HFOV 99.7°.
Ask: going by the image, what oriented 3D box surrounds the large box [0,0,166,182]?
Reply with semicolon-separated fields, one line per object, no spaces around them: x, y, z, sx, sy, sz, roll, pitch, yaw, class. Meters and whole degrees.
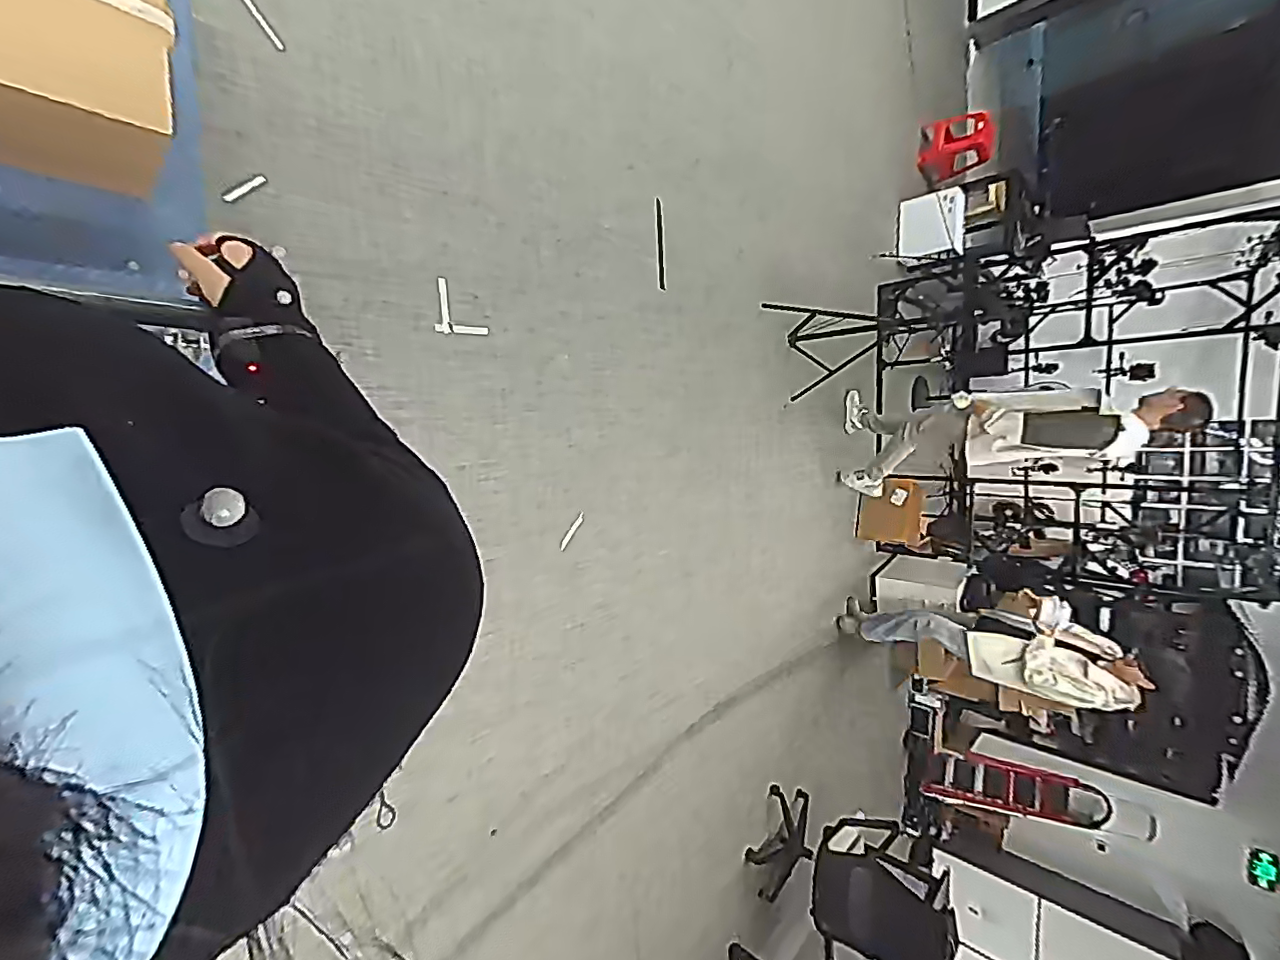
-0.945;-0.673;0.746;0.408;0.320;0.320;-5;96;-46;large box
